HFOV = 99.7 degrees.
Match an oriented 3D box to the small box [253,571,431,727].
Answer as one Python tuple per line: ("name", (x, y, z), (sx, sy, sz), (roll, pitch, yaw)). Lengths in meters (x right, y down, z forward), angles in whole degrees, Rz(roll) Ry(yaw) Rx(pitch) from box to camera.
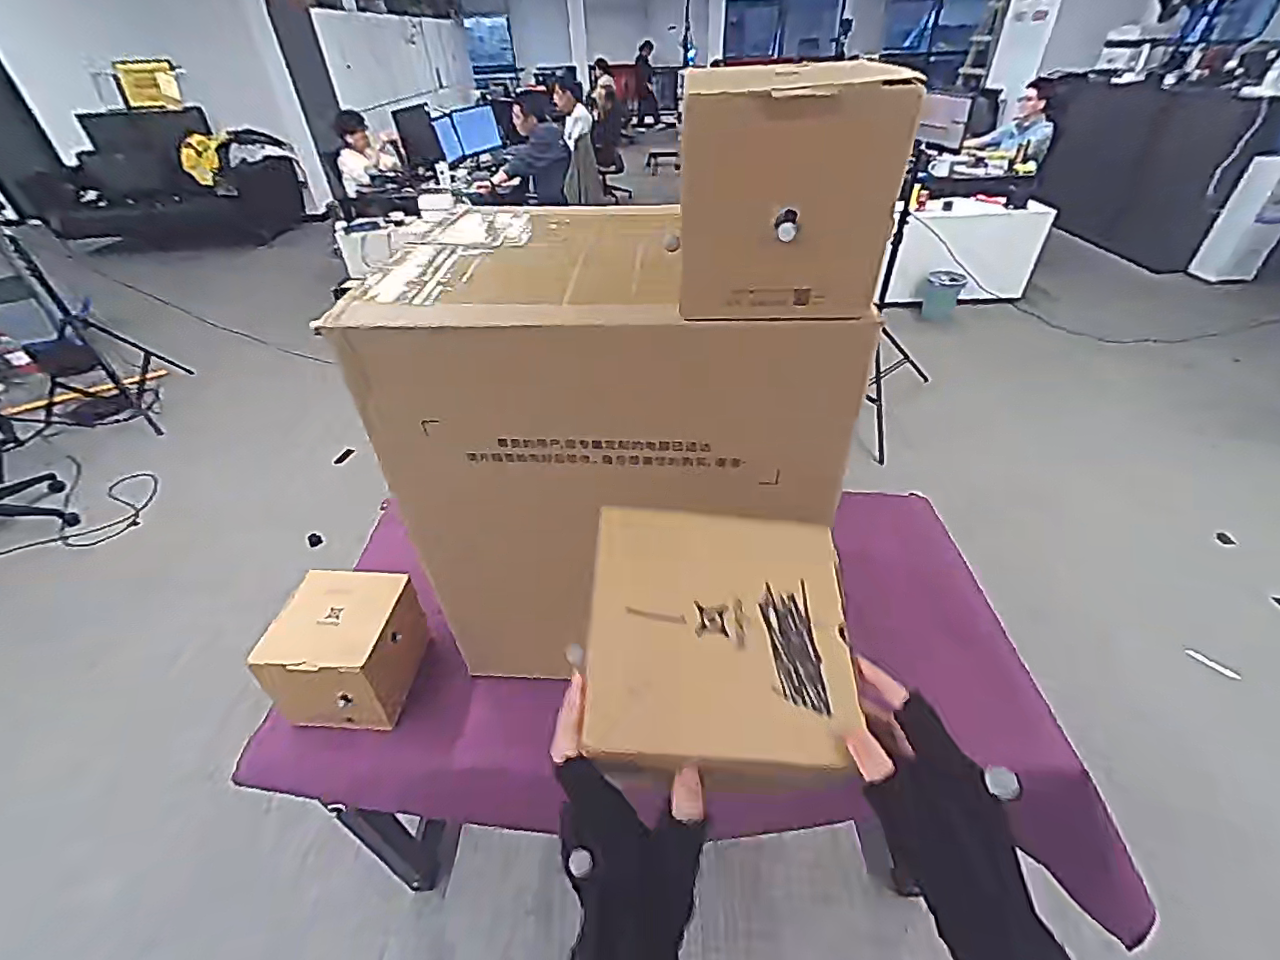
("small box", (-0.450, 0.268, 0.856), (0.168, 0.176, 0.179), (3, 37, 1))

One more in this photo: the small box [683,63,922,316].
("small box", (0.123, -0.259, 0.489), (0.168, 0.176, 0.179), (1, 41, 5))
